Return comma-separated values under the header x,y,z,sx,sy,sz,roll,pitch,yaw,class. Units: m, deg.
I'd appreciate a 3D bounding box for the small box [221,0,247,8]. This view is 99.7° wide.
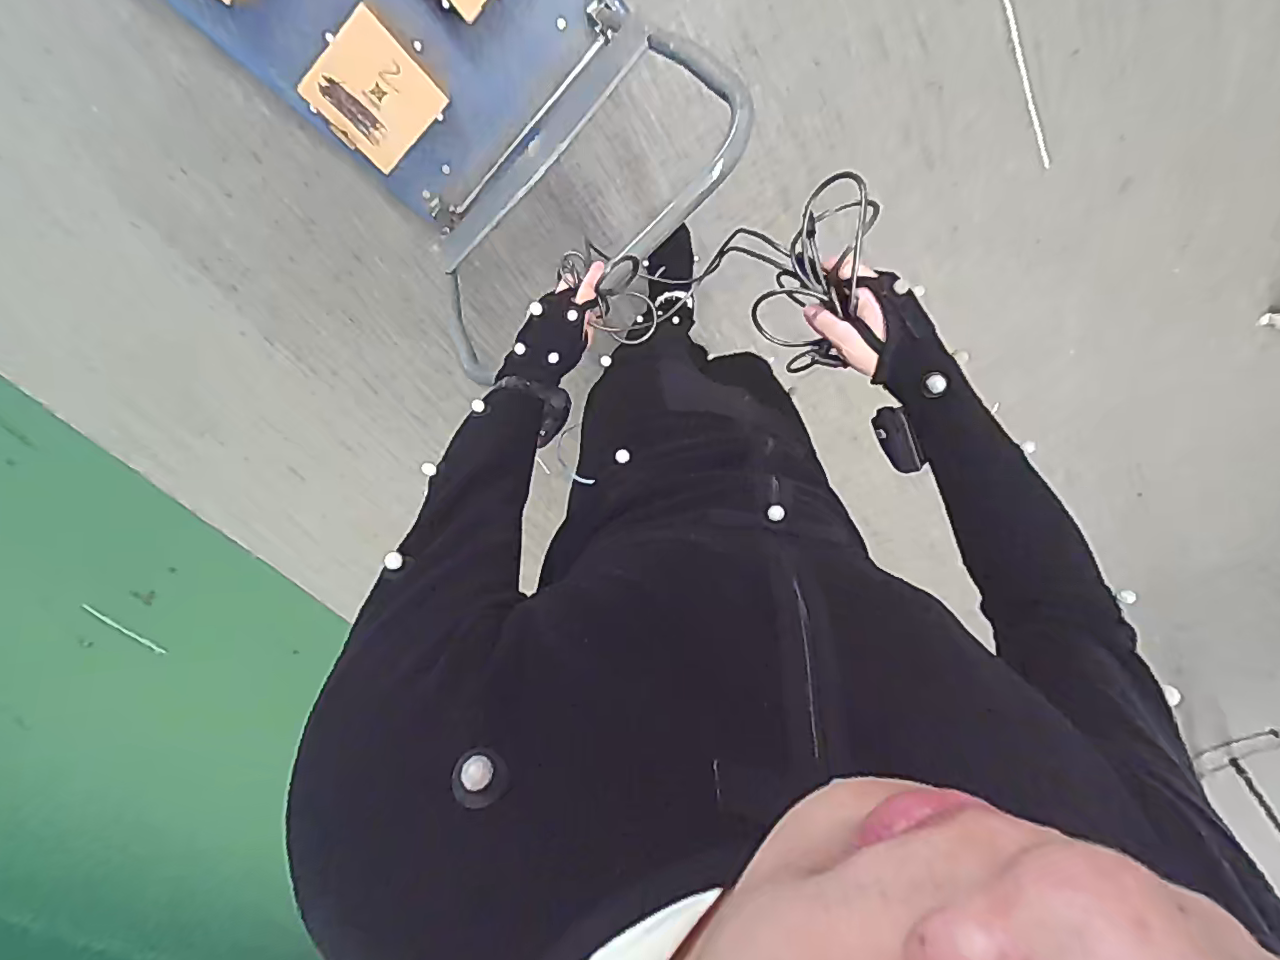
x,y,z,sx,sy,sz,roll,pitch,yaw,class
-0.620,-0.833,0.771,0.168,0.176,0.179,-41,130,20,small box
